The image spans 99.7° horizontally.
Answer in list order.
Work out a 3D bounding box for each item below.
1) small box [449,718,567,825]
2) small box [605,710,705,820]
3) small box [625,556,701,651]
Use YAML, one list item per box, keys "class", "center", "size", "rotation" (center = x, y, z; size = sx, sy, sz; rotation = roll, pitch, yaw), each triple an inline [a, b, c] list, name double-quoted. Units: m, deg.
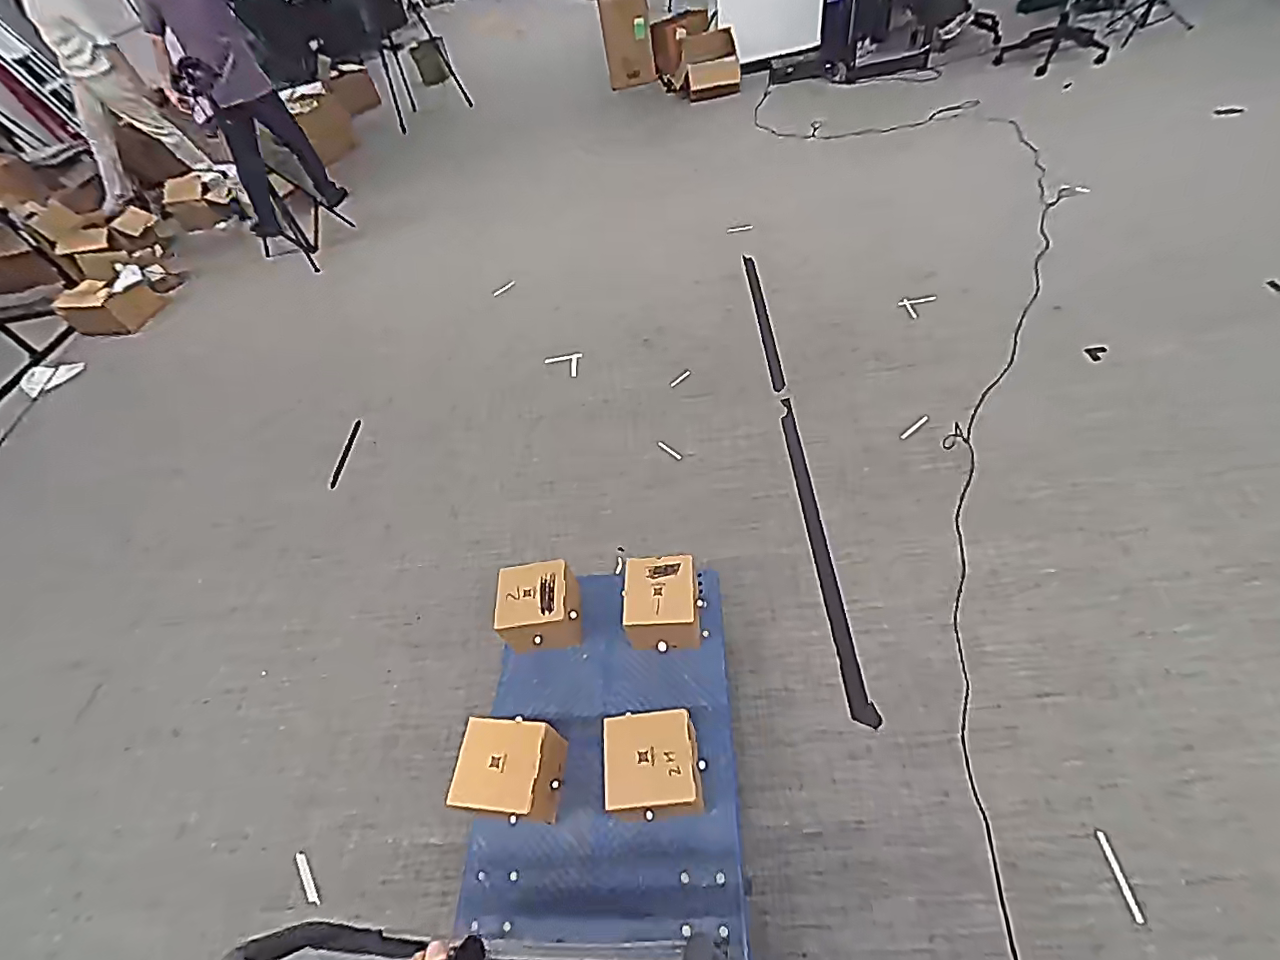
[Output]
- class: "small box"
  center: [-0.271, 0.624, 1.153]
  size: [0.179, 0.176, 0.168]
  rotation: [0, 51, 10]
- class: "small box"
  center: [0.032, 0.590, 1.111]
  size: [0.179, 0.176, 0.168]
  rotation: [-9, 51, 6]
- class: "small box"
  center: [0.061, 0.306, 1.332]
  size: [0.168, 0.176, 0.179]
  rotation: [-5, 52, 9]
